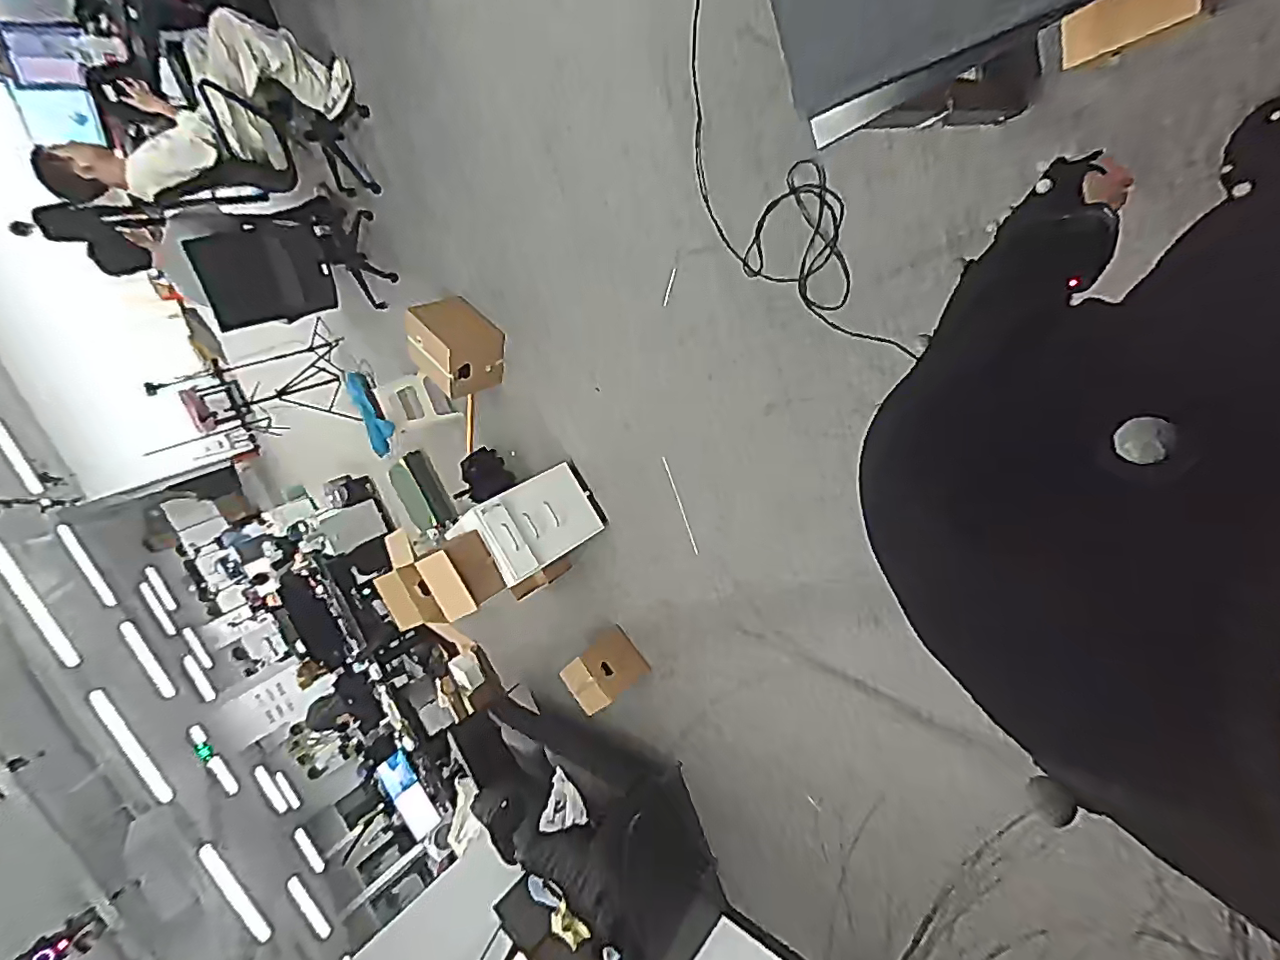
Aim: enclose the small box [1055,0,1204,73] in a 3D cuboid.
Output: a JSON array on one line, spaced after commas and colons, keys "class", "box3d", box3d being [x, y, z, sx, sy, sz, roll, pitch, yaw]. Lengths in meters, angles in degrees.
[{"class": "small box", "box3d": [0.799, -0.802, 0.881, 0.168, 0.176, 0.179, 3, 116, 48]}]
